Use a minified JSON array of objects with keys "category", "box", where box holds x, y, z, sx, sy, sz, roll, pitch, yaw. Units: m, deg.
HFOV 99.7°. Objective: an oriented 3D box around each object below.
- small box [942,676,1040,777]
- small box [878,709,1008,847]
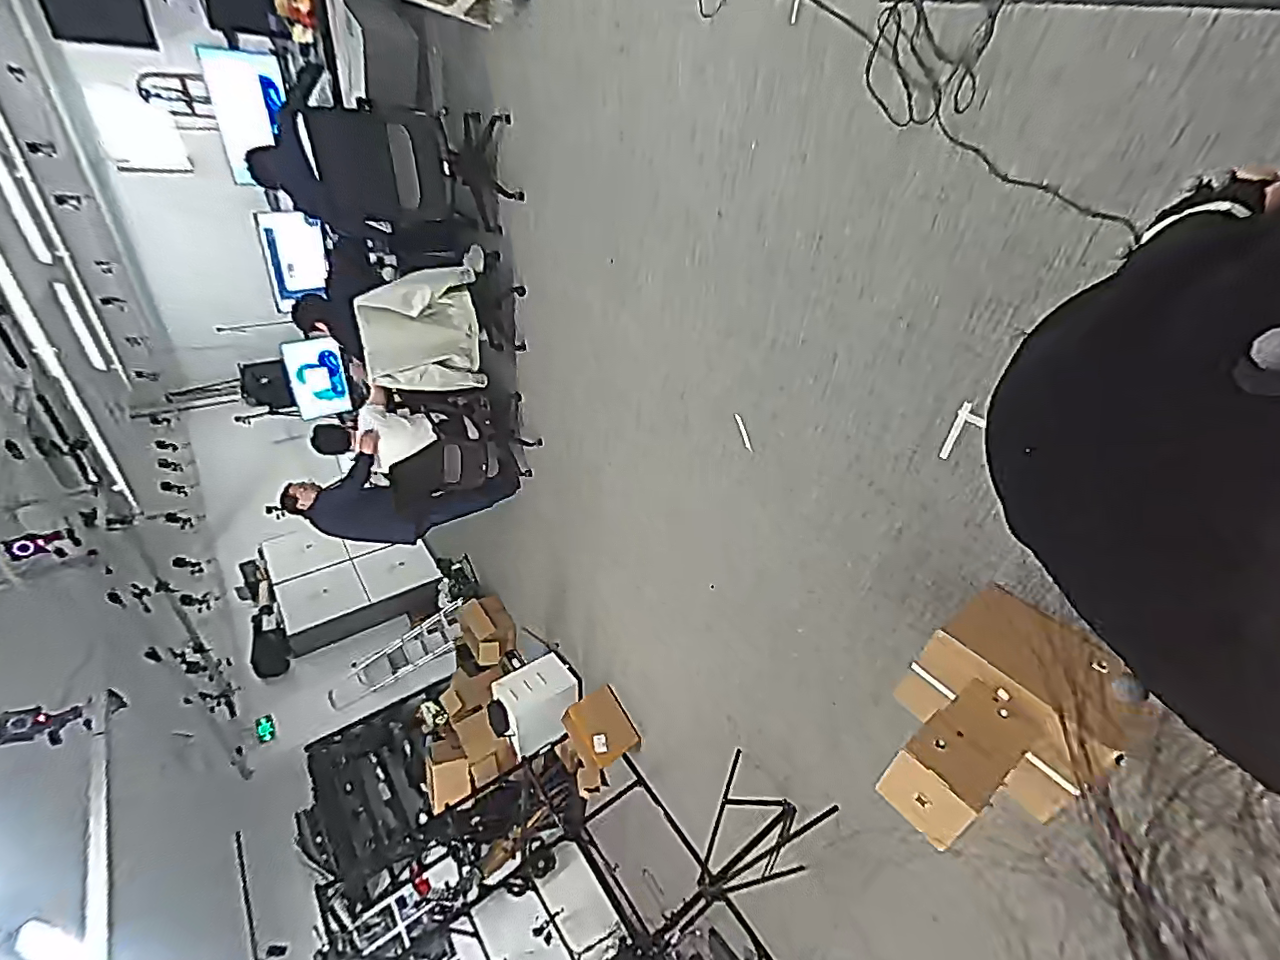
[{"category":"small box","box":[0.797,0.605,1.277,0.168,0.176,0.179,40,136,38]},{"category":"small box","box":[0.667,0.645,1.188,0.168,0.176,0.179,40,137,39]}]
